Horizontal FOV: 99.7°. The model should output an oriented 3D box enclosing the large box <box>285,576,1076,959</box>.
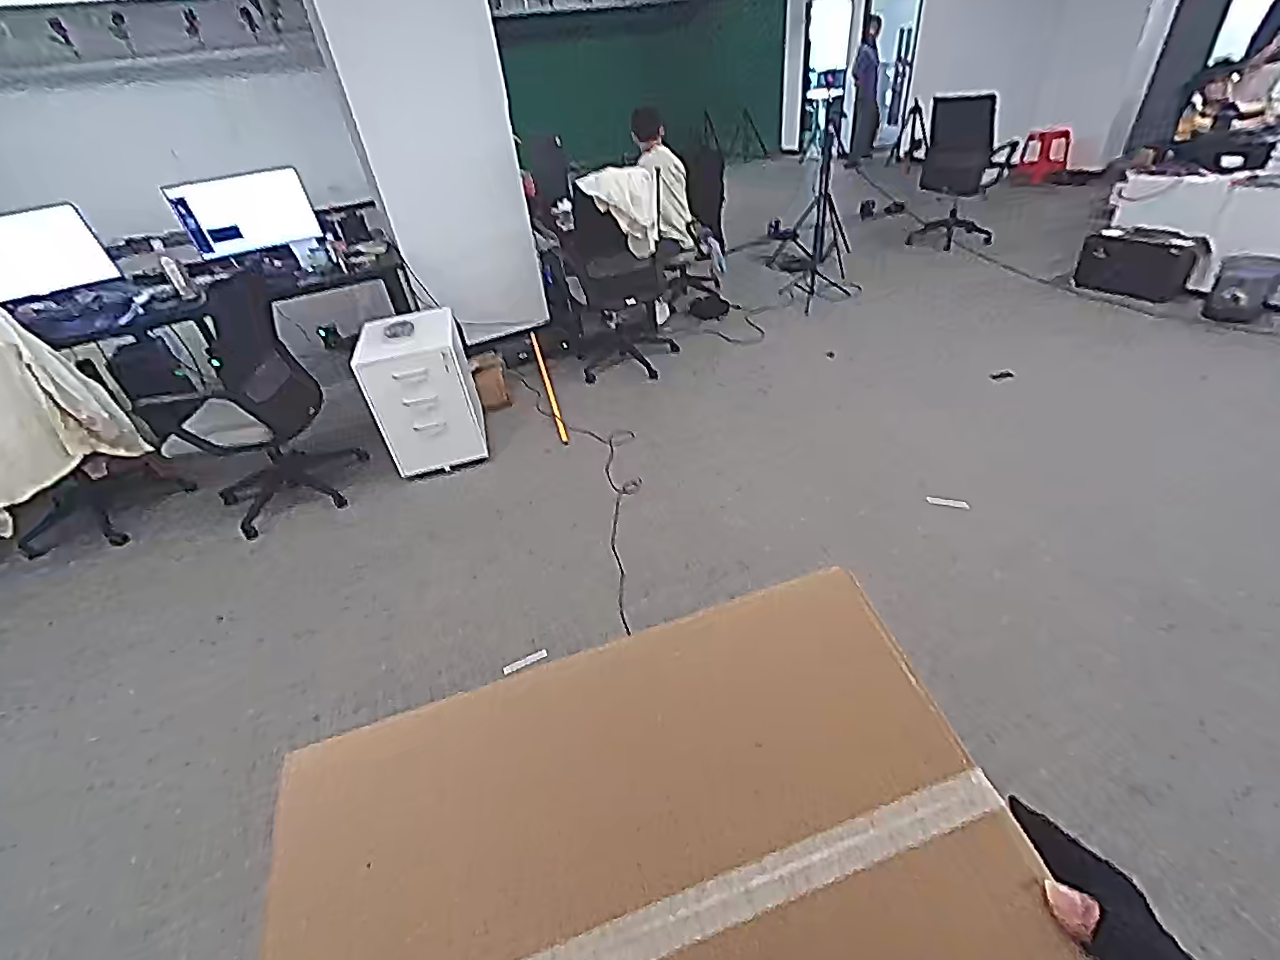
[{"bbox_3d":[0.021,0.333,0.411,0.408,0.320,0.320,-17,51,-7],"label":"large box"}]
